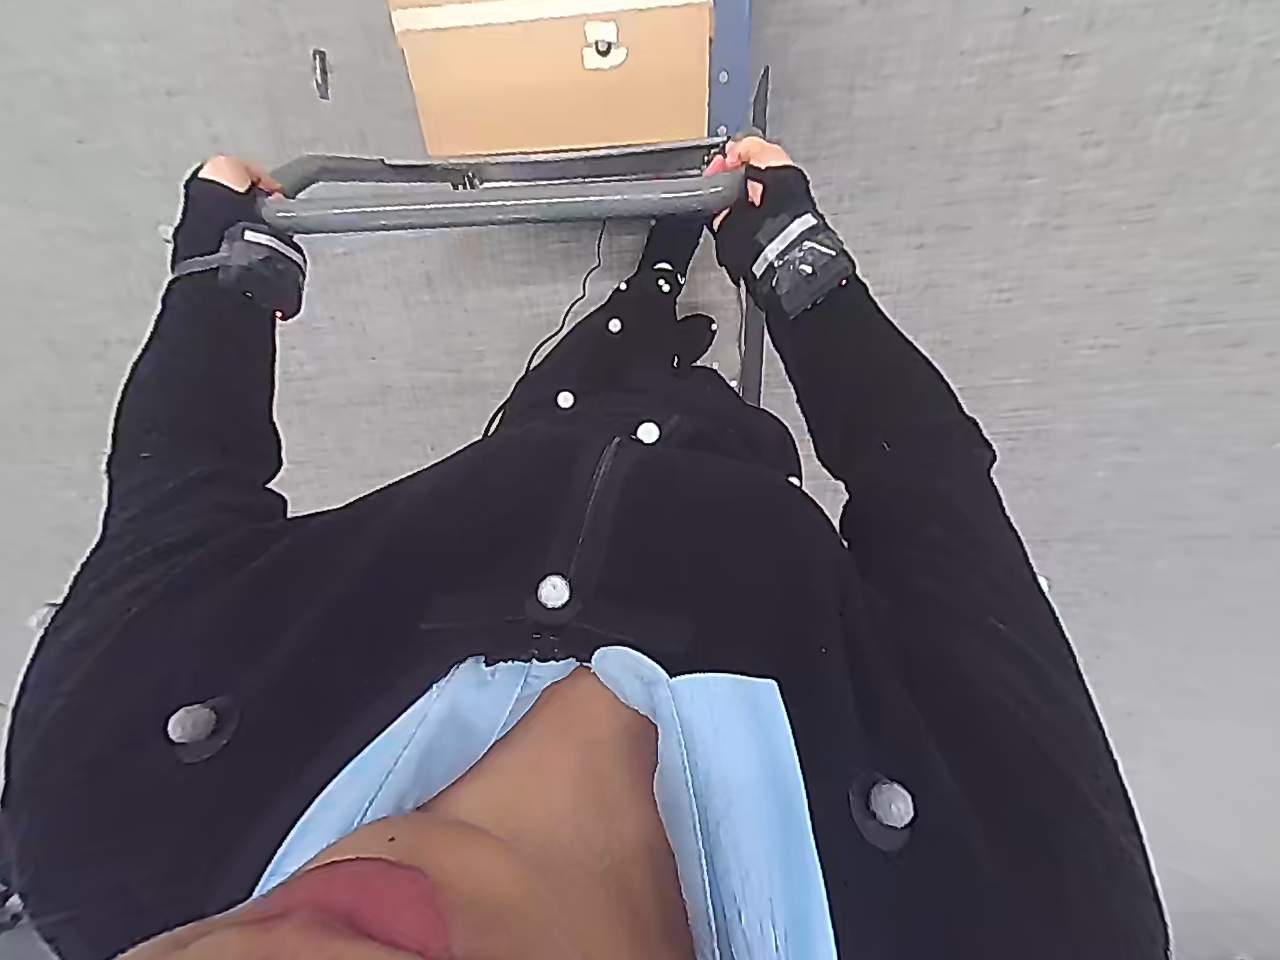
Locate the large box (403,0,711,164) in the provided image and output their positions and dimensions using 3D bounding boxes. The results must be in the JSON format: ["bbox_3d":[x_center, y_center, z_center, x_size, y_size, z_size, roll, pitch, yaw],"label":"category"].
[{"bbox_3d":[-0.102,-0.679,0.825,0.408,0.320,0.320,-1,121,5],"label":"large box"}]
